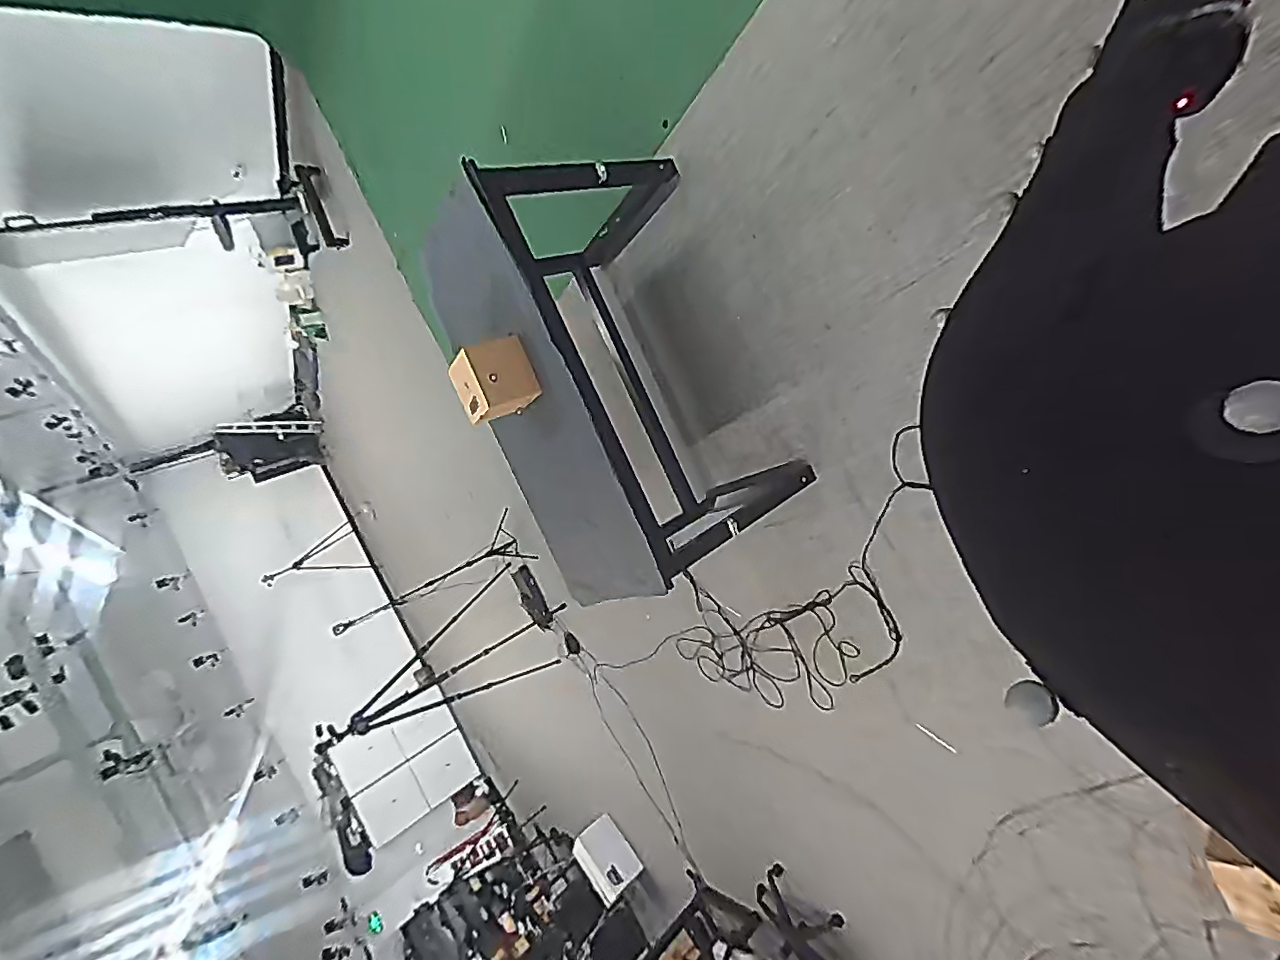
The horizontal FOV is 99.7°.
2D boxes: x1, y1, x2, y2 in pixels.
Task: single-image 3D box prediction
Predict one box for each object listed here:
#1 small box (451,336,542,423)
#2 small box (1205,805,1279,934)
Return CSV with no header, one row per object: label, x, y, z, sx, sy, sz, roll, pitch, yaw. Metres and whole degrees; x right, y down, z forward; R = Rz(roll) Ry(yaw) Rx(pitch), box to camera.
small box,-0.403,-0.285,1.530,0.168,0.176,0.179,-21,94,55
small box,1.410,0.869,1.195,0.168,0.176,0.179,-29,88,54
